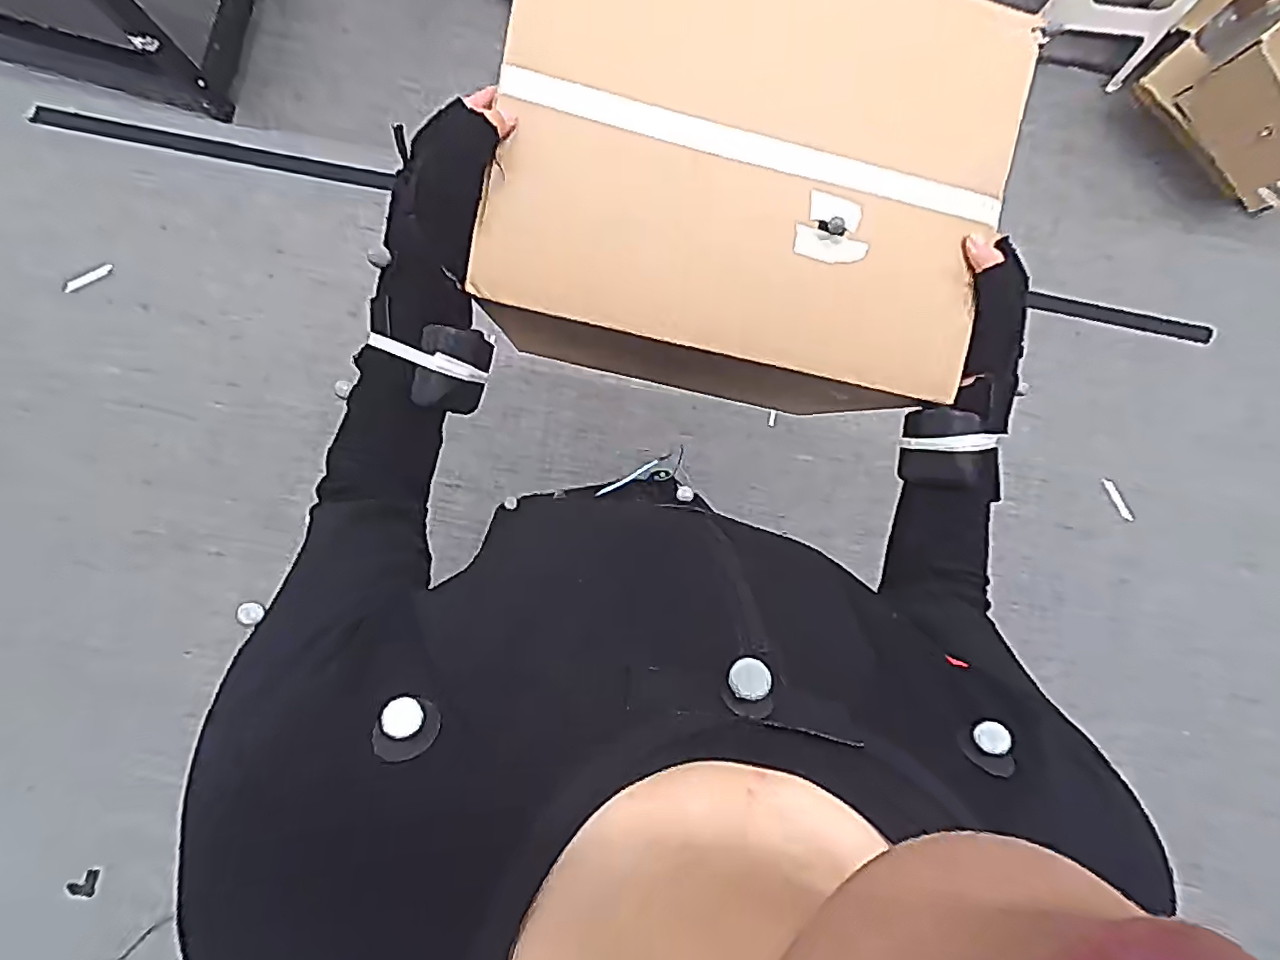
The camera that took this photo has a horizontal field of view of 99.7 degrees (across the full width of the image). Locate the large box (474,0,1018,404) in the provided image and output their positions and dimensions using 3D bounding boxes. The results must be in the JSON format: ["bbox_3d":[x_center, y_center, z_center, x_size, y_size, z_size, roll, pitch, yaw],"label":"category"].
[{"bbox_3d":[0.073,-0.274,0.577,0.408,0.320,0.320,11,96,-7],"label":"large box"}]
